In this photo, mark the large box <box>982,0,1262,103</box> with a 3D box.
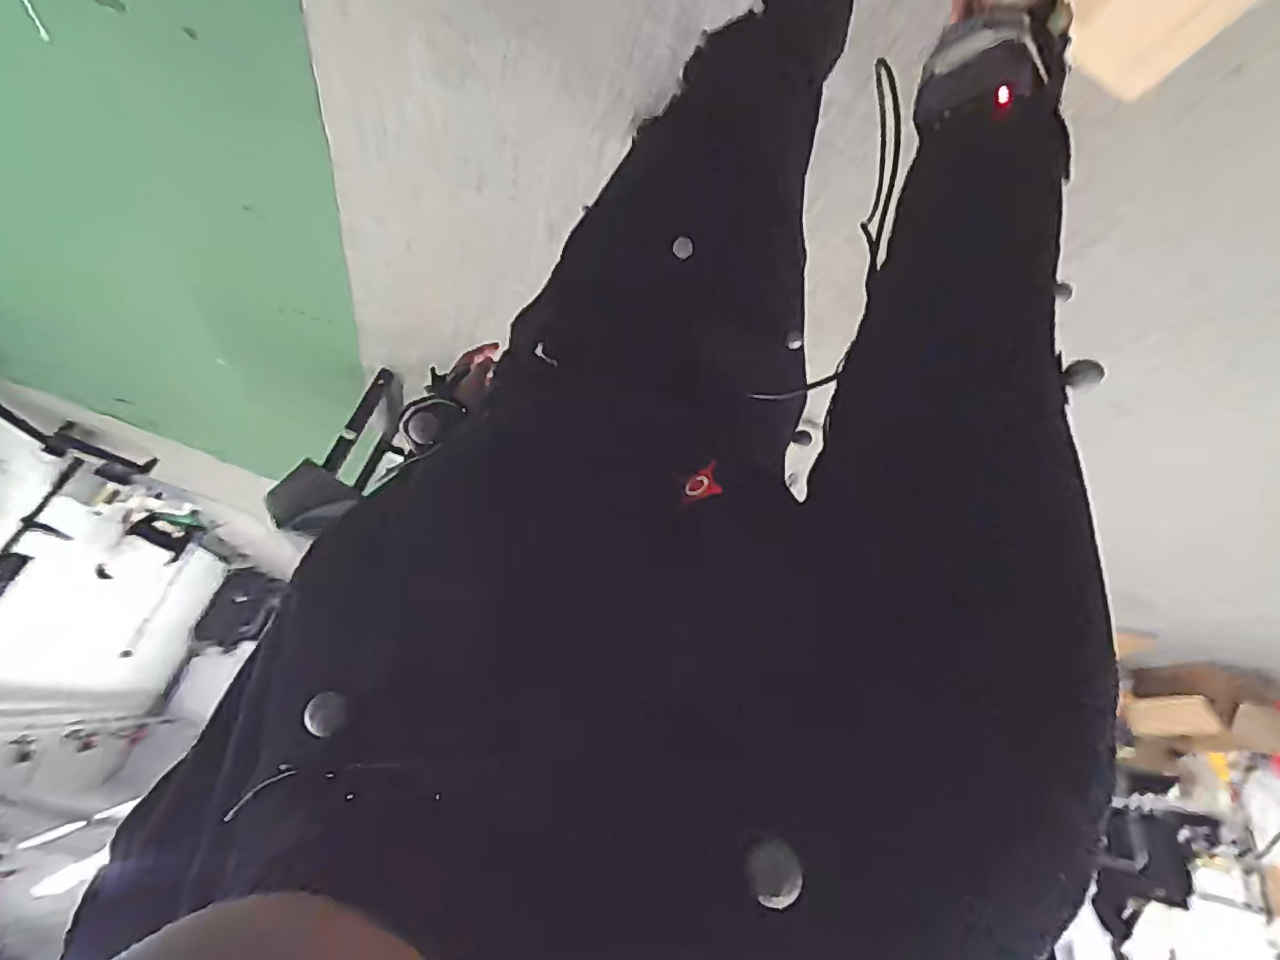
[{"bbox_3d":[0.468,-0.677,0.506,0.408,0.320,0.320,23,153,-12],"label":"large box"}]
